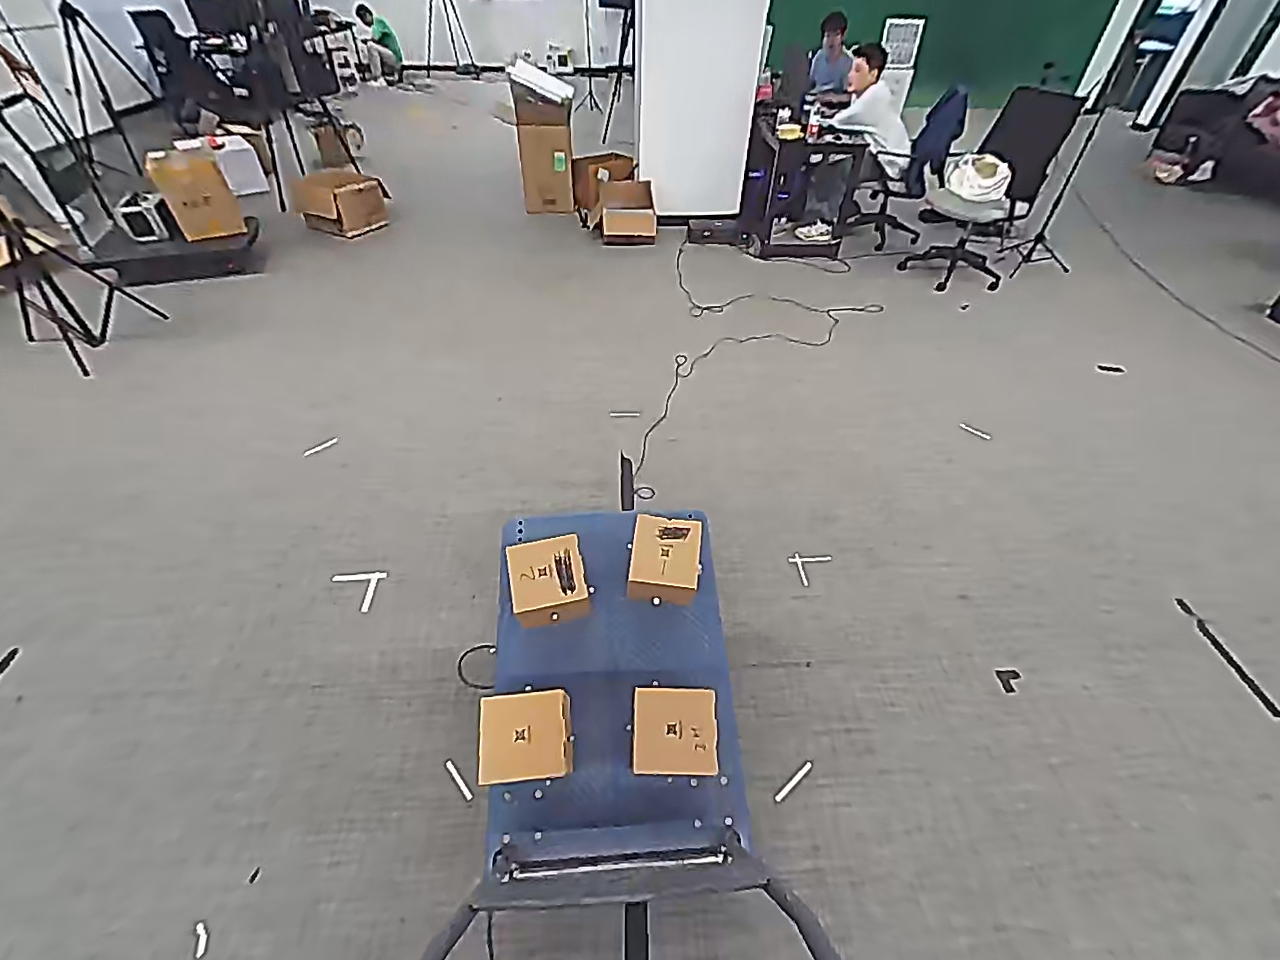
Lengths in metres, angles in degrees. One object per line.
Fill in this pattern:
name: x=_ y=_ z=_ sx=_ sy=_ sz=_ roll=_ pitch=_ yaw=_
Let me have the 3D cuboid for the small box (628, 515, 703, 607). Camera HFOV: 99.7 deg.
small box: x=0.063 y=0.210 z=1.382 sx=0.168 sy=0.176 sz=0.179 roll=8 pitch=63 yaw=2

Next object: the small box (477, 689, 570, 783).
small box: x=-0.248 y=0.563 z=1.183 sx=0.179 sy=0.176 sz=0.168 roll=-4 pitch=62 yaw=-6

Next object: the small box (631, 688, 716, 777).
small box: x=0.070 y=0.561 z=1.197 sx=0.179 sy=0.176 sz=0.168 roll=3 pitch=63 yaw=-1
